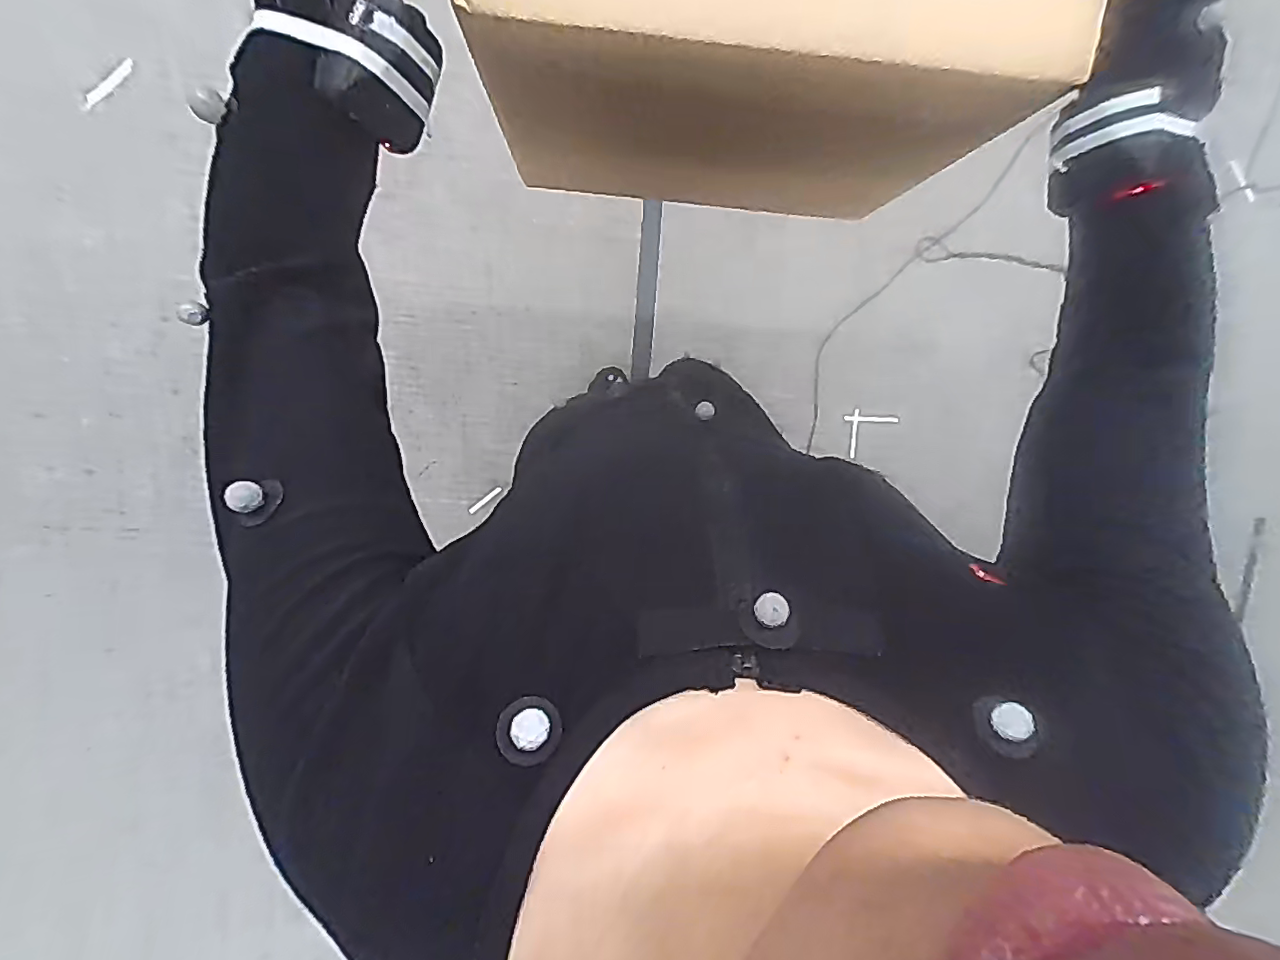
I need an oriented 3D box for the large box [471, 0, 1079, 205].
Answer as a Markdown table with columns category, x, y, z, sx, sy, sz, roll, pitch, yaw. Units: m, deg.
| category | x | y | z | sx | sy | sz | roll | pitch | yaw |
| --- | --- | --- | --- | --- | --- | --- | --- | --- | --- |
| large box | 0.084 | -0.458 | 0.465 | 0.408 | 0.320 | 0.320 | 2 | 101 | -5 |
